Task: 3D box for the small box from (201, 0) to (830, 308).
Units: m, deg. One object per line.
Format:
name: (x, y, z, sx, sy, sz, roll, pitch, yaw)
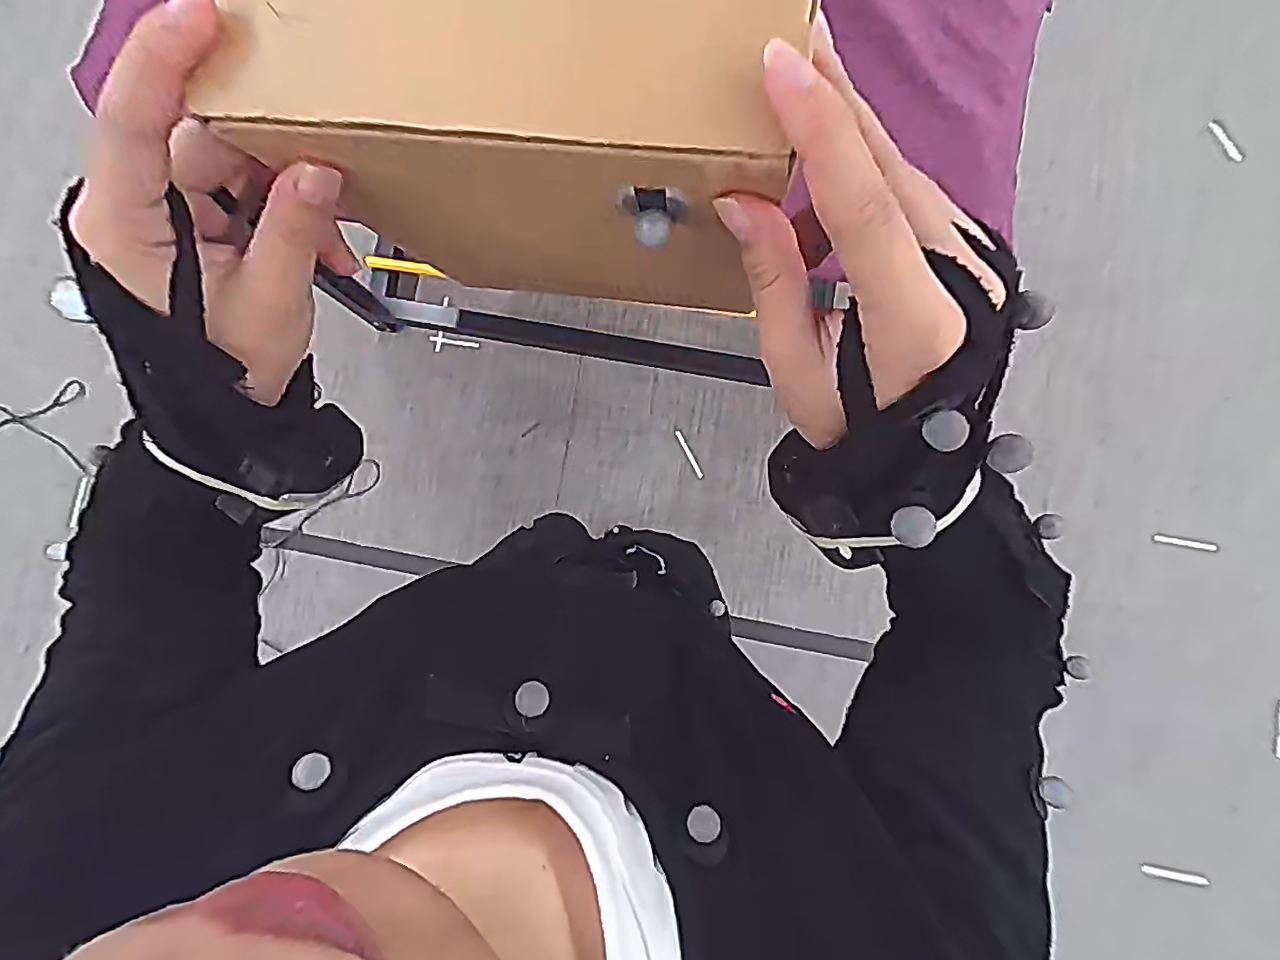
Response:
small box: (-0.022, -0.177, 0.220, 0.179, 0.176, 0.168, 8, 95, 6)
